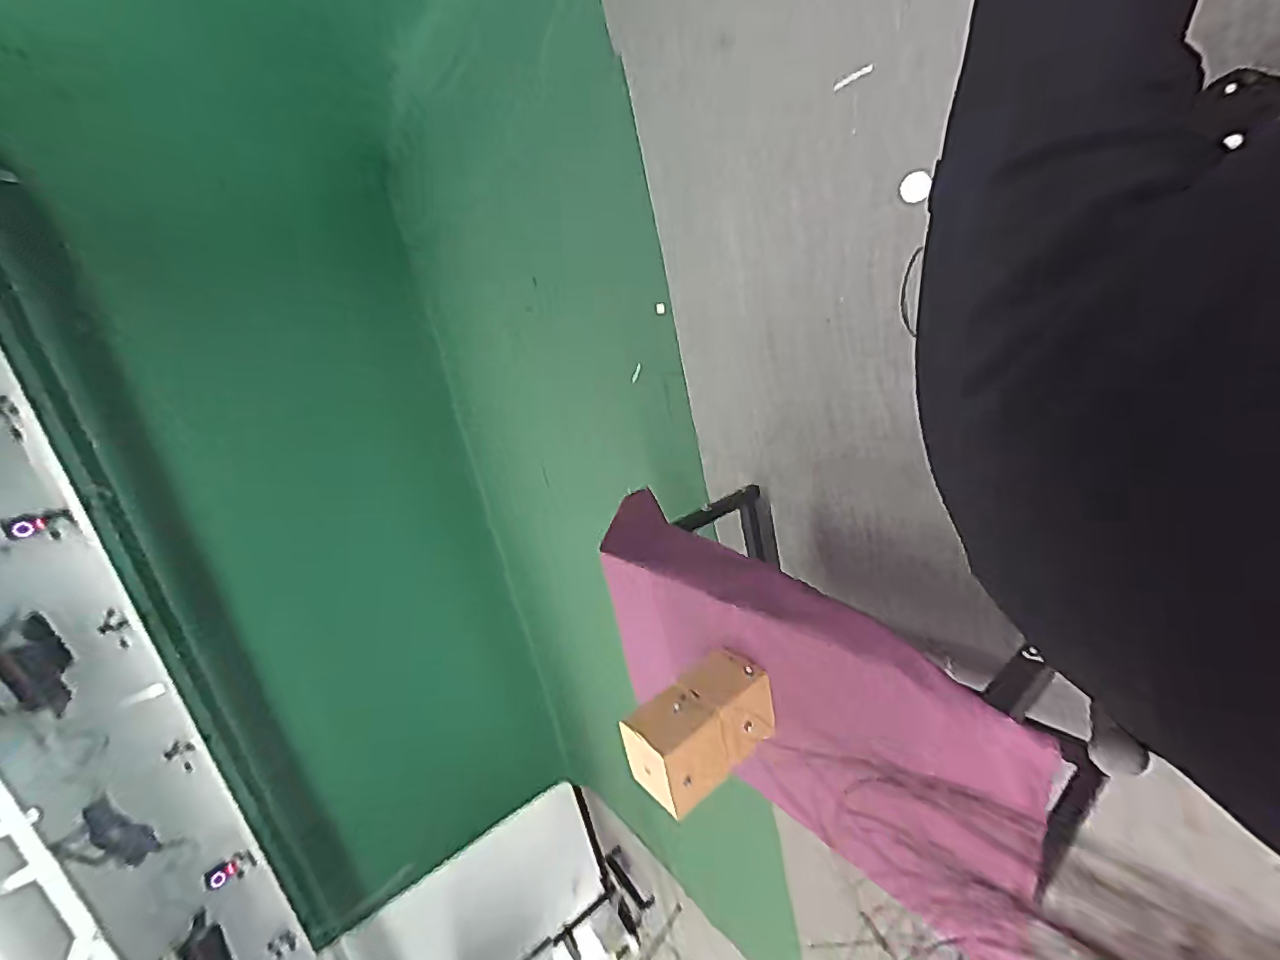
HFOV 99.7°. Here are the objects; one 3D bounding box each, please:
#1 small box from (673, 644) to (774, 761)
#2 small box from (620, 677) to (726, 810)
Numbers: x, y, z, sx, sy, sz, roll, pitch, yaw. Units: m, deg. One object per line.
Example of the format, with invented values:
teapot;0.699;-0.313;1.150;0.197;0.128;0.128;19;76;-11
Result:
small box;0.208;0.536;1.331;0.168;0.176;0.179;13;120;53
small box;0.081;0.596;1.245;0.168;0.176;0.179;12;118;53
